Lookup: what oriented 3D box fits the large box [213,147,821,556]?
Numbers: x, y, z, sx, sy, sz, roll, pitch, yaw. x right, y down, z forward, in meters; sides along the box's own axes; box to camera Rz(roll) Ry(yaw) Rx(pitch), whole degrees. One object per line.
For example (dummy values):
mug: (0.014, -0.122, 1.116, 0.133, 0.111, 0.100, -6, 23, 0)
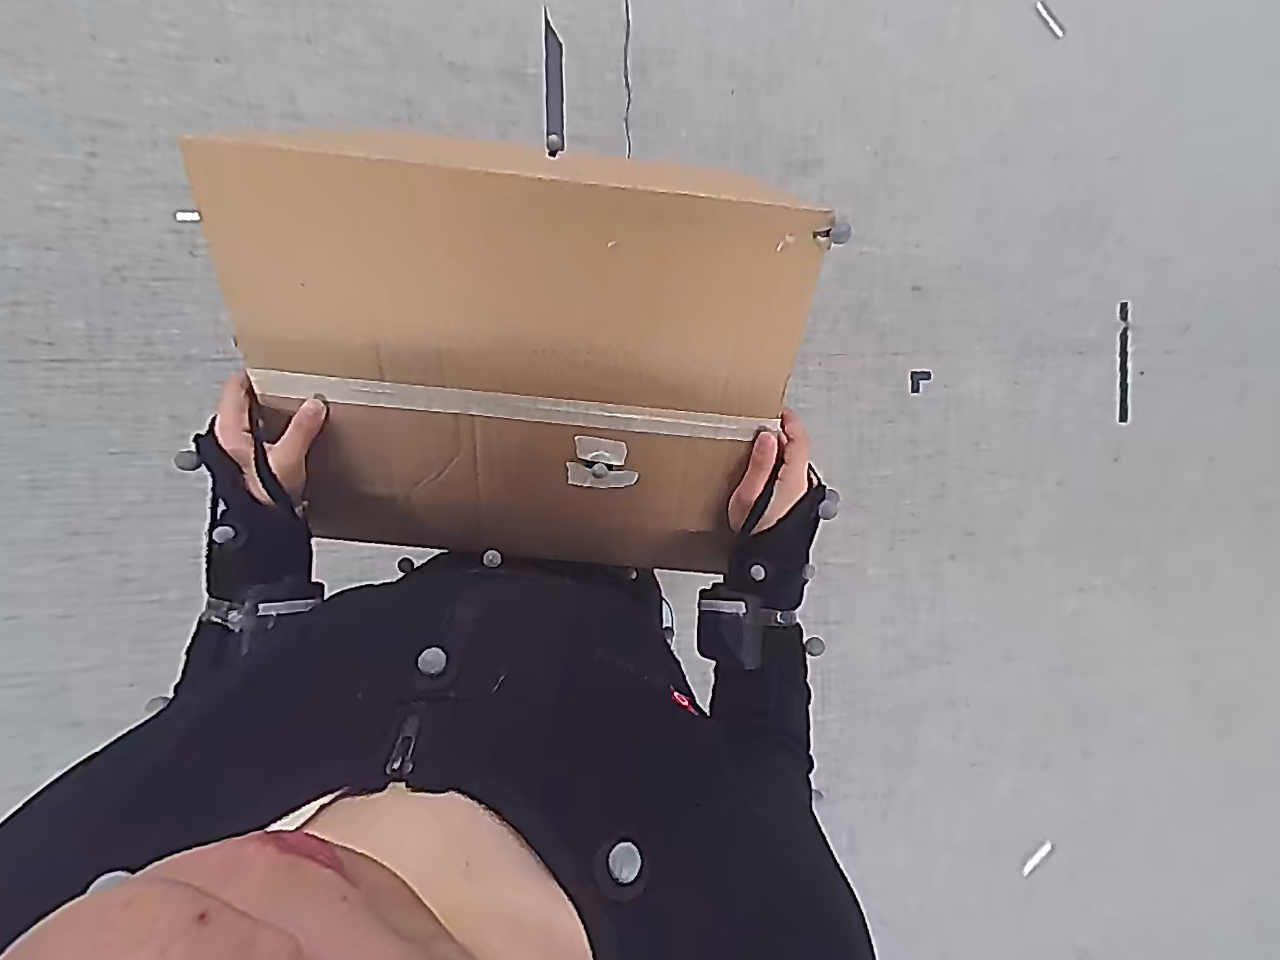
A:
large box: (-0.090, -0.146, 0.556, 0.408, 0.320, 0.320, 4, 124, -3)
